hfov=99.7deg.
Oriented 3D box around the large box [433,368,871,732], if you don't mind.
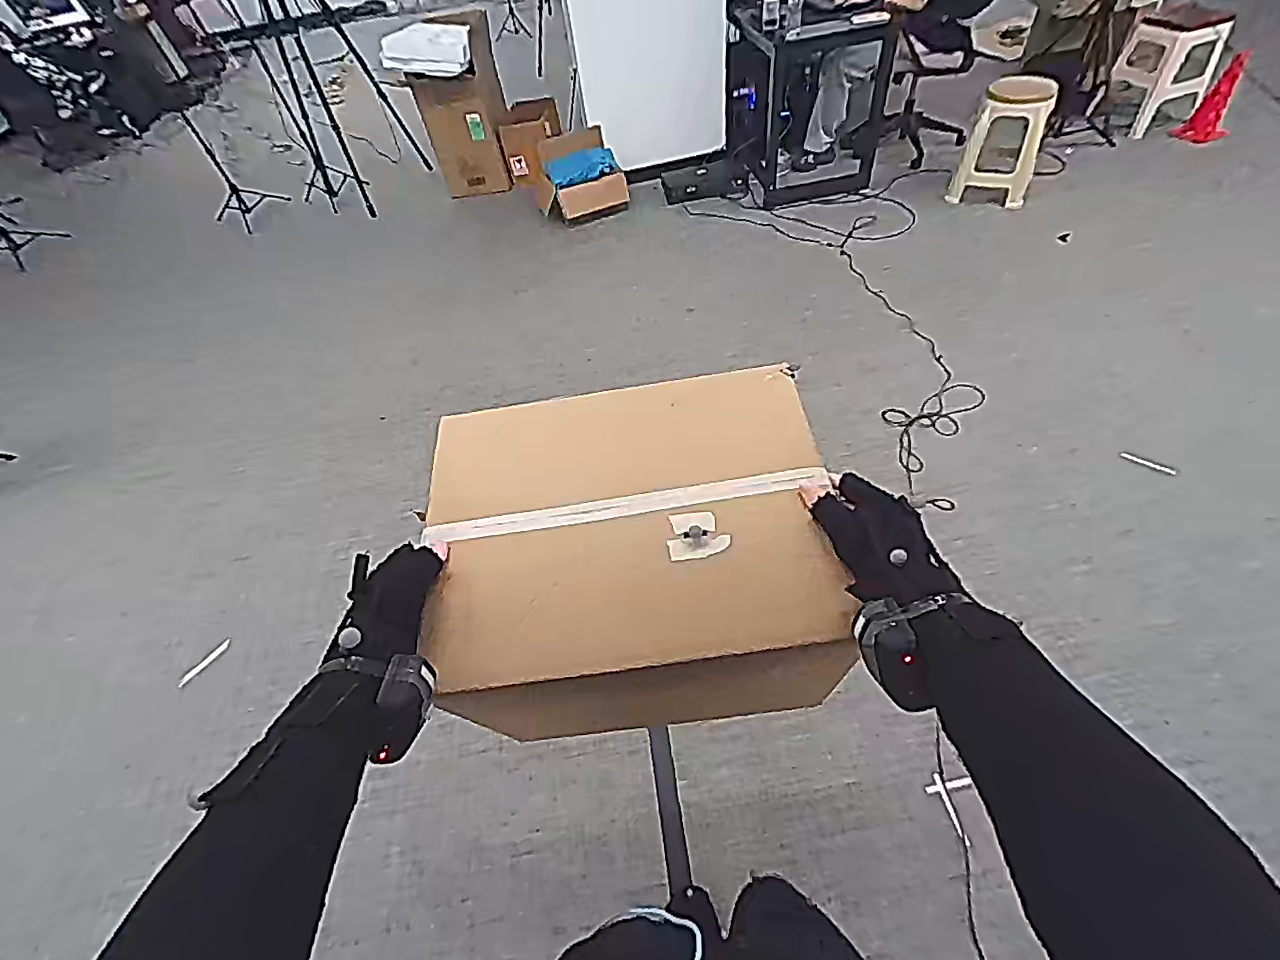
[{"bbox_3d":[0.006,0.105,0.681,0.408,0.320,0.320,-8,58,2],"label":"large box"}]
